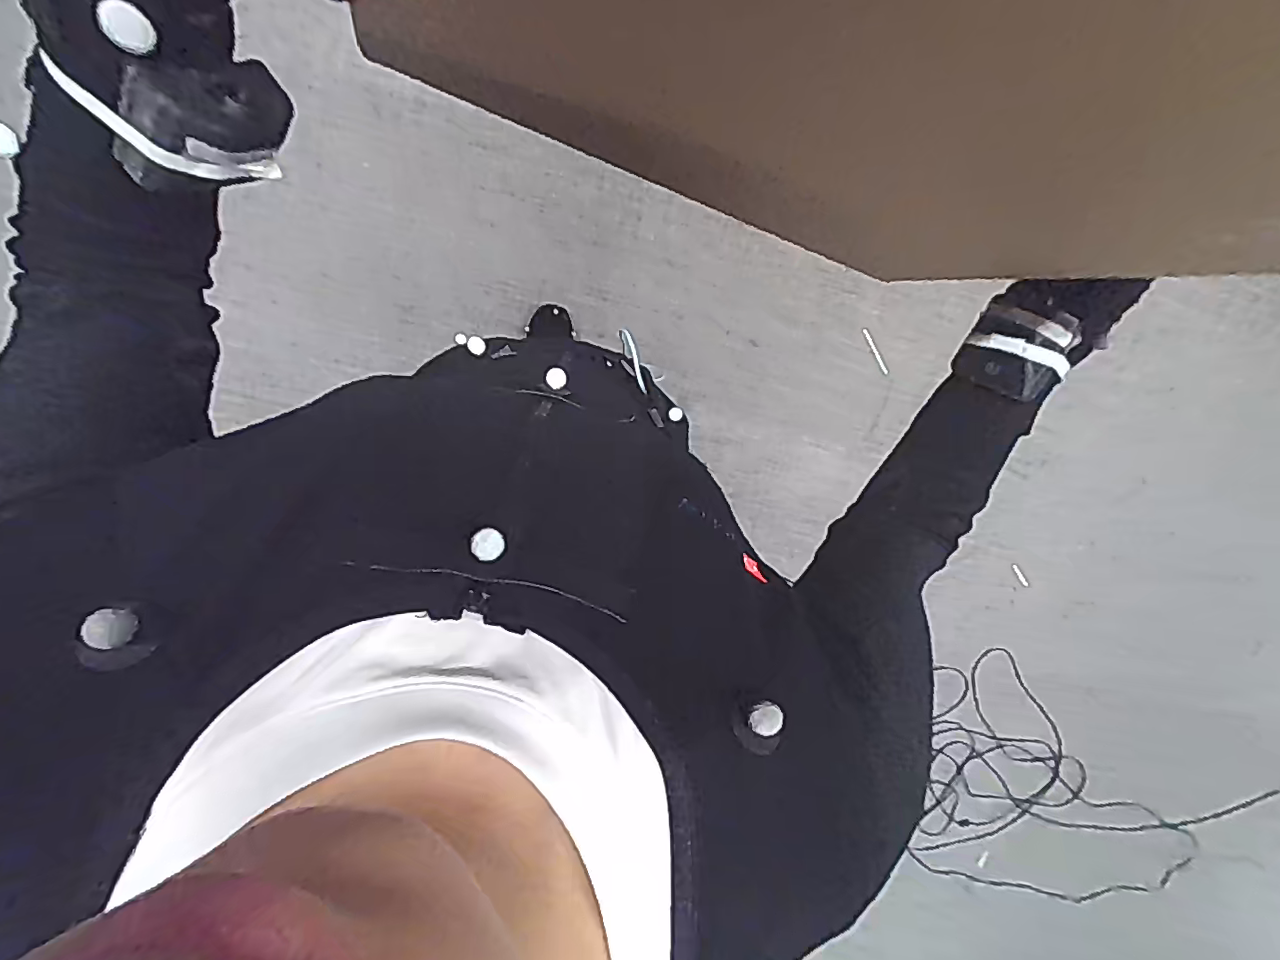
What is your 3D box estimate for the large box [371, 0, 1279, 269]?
[{"bbox_3d":[0.129,-0.301,0.210,0.408,0.320,0.320,9,105,-27],"label":"large box"}]
